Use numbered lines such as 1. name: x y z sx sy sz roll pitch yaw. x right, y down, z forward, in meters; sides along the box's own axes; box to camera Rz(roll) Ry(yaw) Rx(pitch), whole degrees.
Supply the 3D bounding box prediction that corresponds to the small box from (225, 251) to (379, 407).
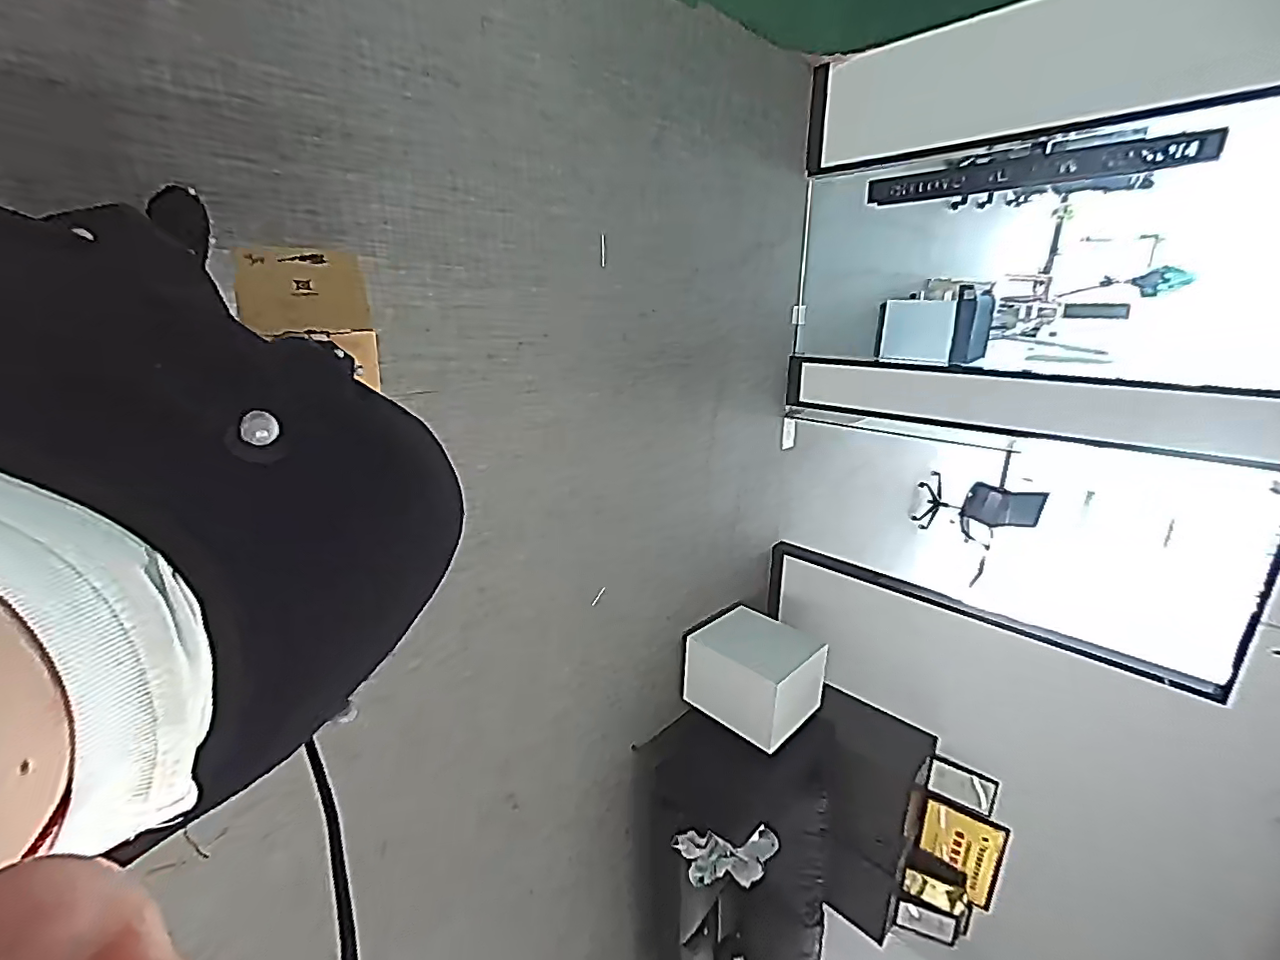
1. small box: -0.521 -0.231 0.850 0.168 0.179 0.176 -14 155 -28
